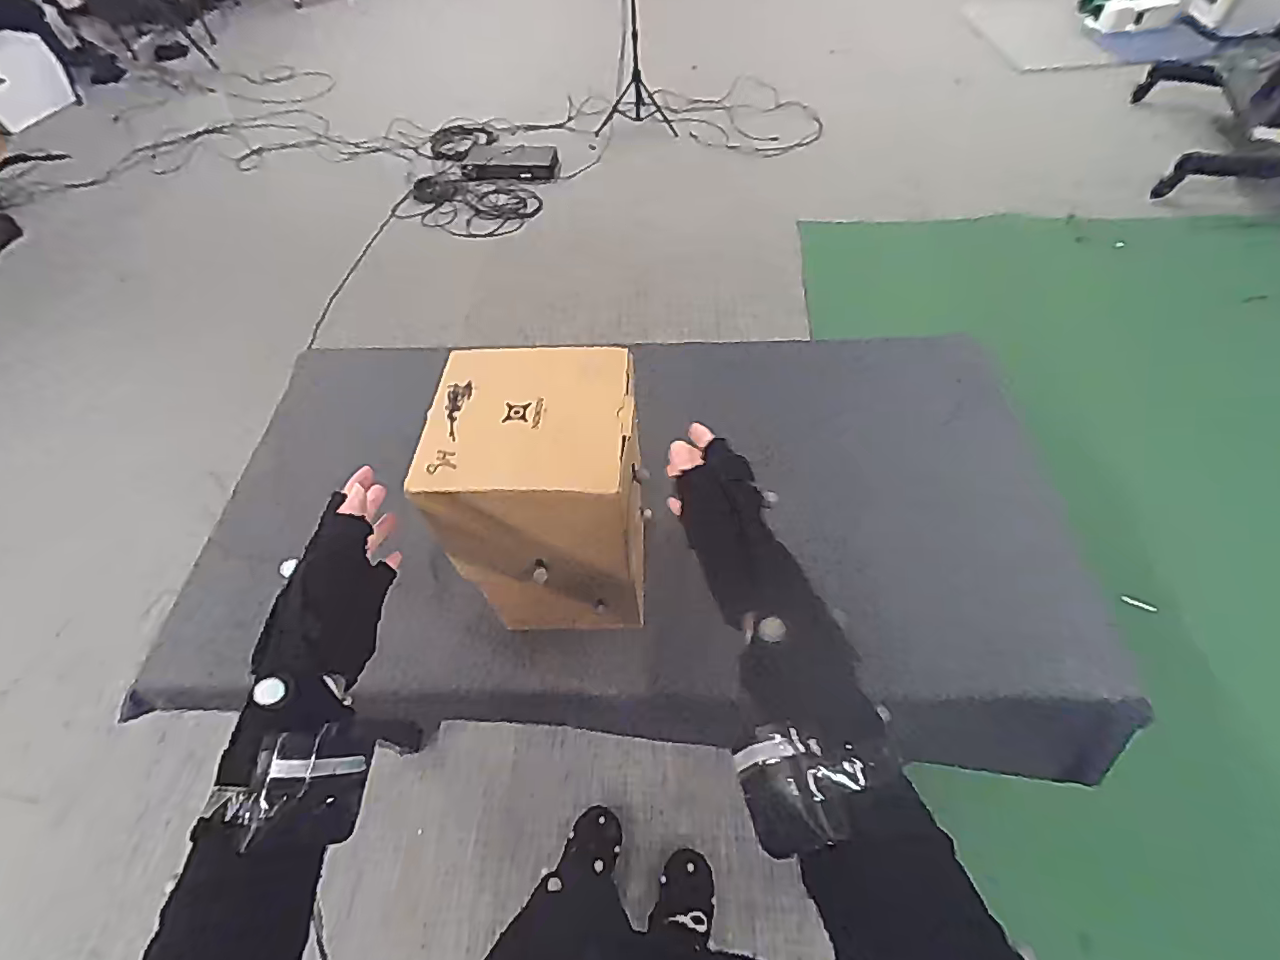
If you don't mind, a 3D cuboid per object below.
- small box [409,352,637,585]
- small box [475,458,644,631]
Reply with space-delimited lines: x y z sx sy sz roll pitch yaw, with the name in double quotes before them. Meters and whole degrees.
"small box" -0.093 -0.006 0.537 0.179 0.176 0.168 1 53 2
"small box" -0.085 0.082 0.676 0.179 0.176 0.168 -3 54 3
